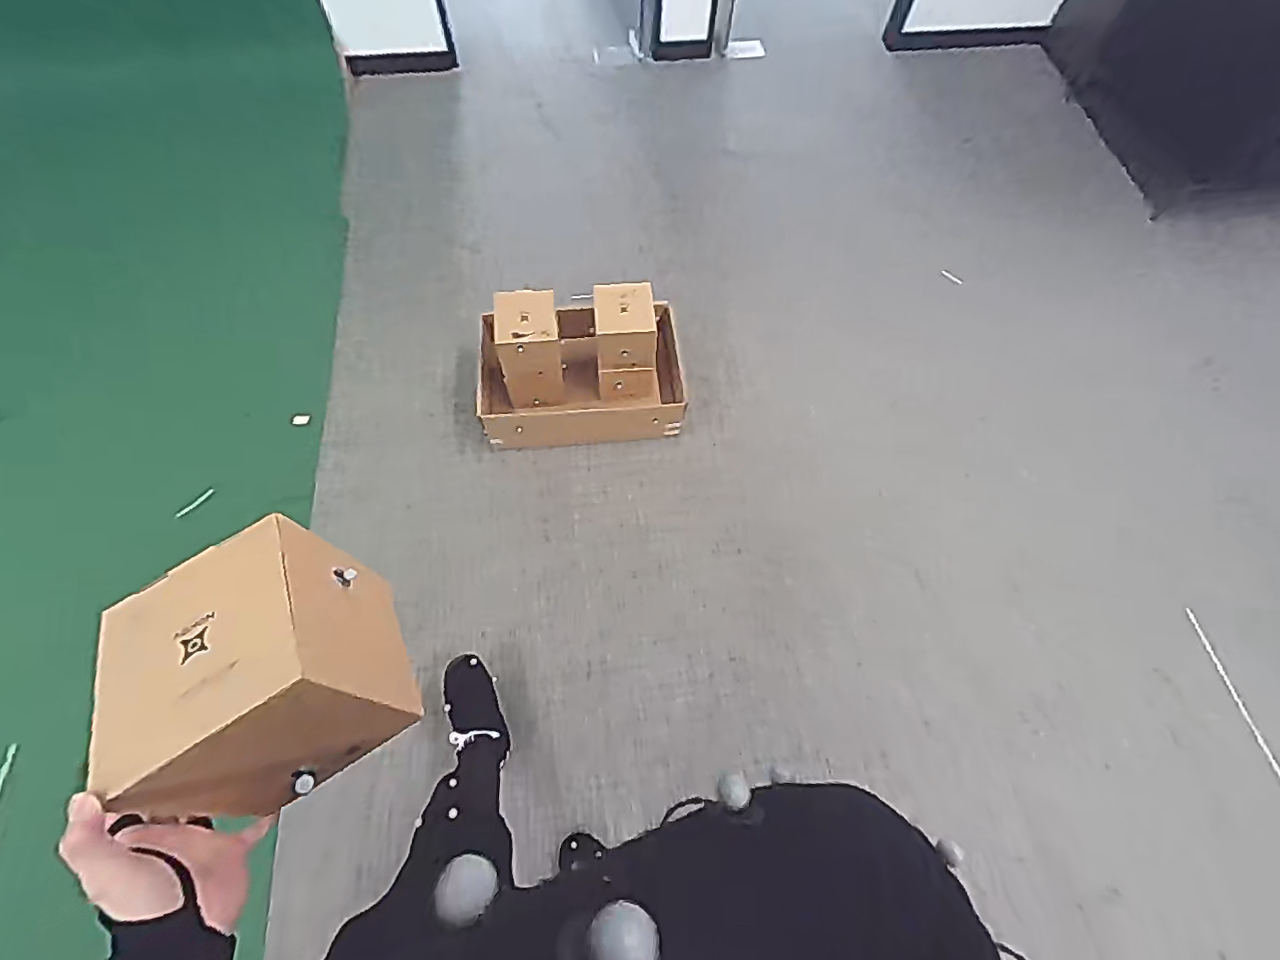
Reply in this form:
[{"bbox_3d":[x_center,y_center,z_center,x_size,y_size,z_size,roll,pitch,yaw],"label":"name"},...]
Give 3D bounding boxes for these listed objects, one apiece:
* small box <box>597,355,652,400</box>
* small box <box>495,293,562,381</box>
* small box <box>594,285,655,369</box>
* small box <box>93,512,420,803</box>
[{"bbox_3d":[-0.050,-0.364,1.712,0.168,0.176,0.179,-4,66,-3],"label":"small box"},{"bbox_3d":[-0.313,-0.404,1.535,0.168,0.176,0.179,-5,66,-5],"label":"small box"},{"bbox_3d":[-0.044,-0.434,1.563,0.168,0.176,0.179,-4,66,-3],"label":"small box"},{"bbox_3d":[-0.336,0.169,0.501,0.168,0.176,0.179,-31,55,-7],"label":"small box"}]
